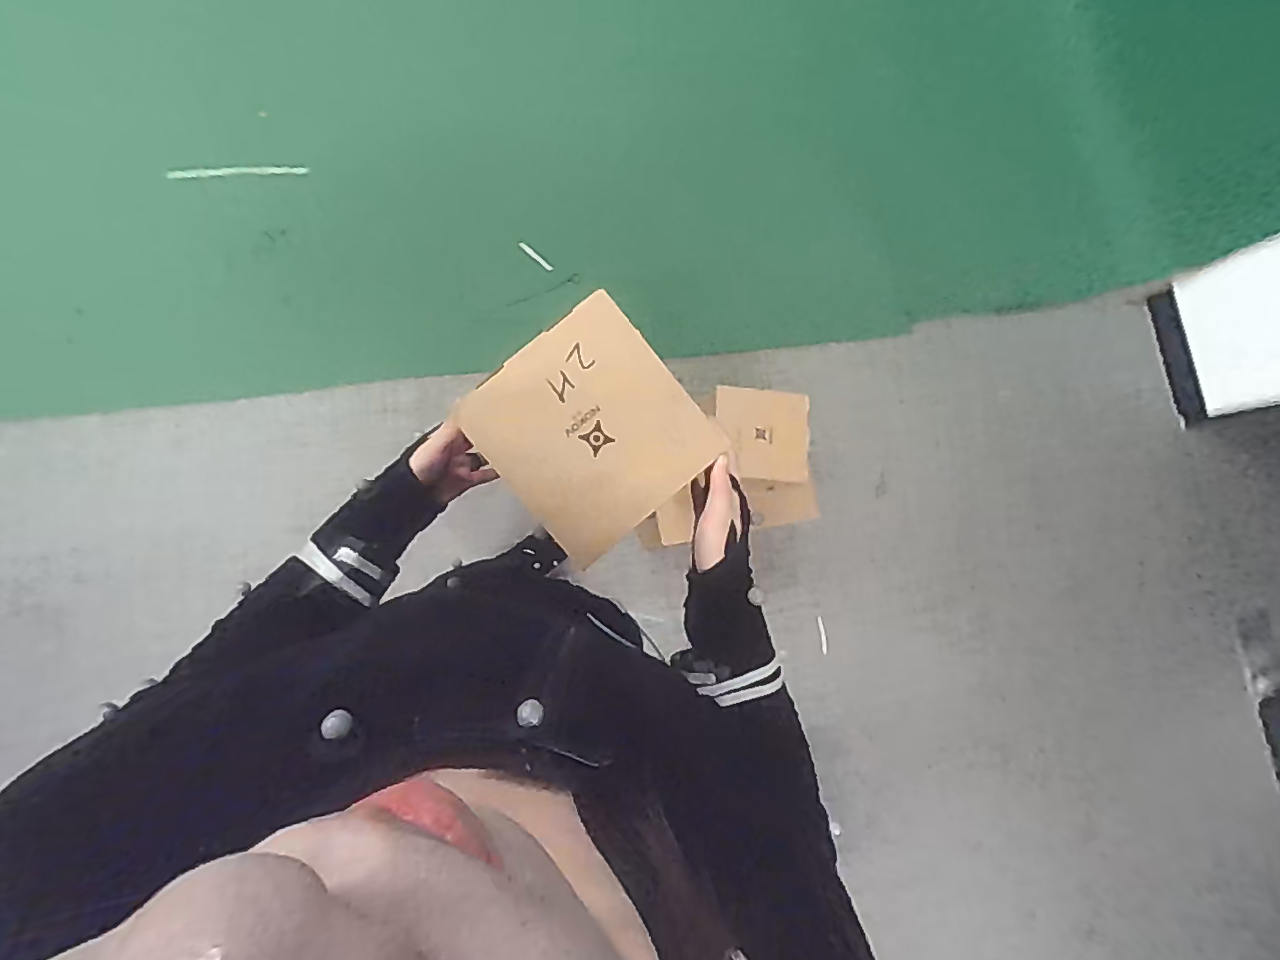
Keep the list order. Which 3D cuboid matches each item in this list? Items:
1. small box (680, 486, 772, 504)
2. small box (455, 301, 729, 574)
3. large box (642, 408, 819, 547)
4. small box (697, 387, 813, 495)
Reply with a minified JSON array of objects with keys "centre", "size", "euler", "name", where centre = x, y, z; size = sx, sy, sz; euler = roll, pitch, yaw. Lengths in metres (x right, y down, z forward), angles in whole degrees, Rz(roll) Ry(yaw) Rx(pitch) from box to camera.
[{"centre":[0.181,-0.038,1.198],"size":[0.179,0.176,0.168],"euler":[2,82,-8],"name":"small box"},{"centre":[-0.044,-0.039,0.534],"size":[0.168,0.176,0.179],"euler":[-41,95,-2],"name":"small box"},{"centre":[0.196,-0.008,1.444],"size":[0.408,0.320,0.320],"euler":[-8,84,-10],"name":"large box"},{"centre":[0.212,-0.066,1.040],"size":[0.179,0.176,0.168],"euler":[6,81,-7],"name":"small box"}]
